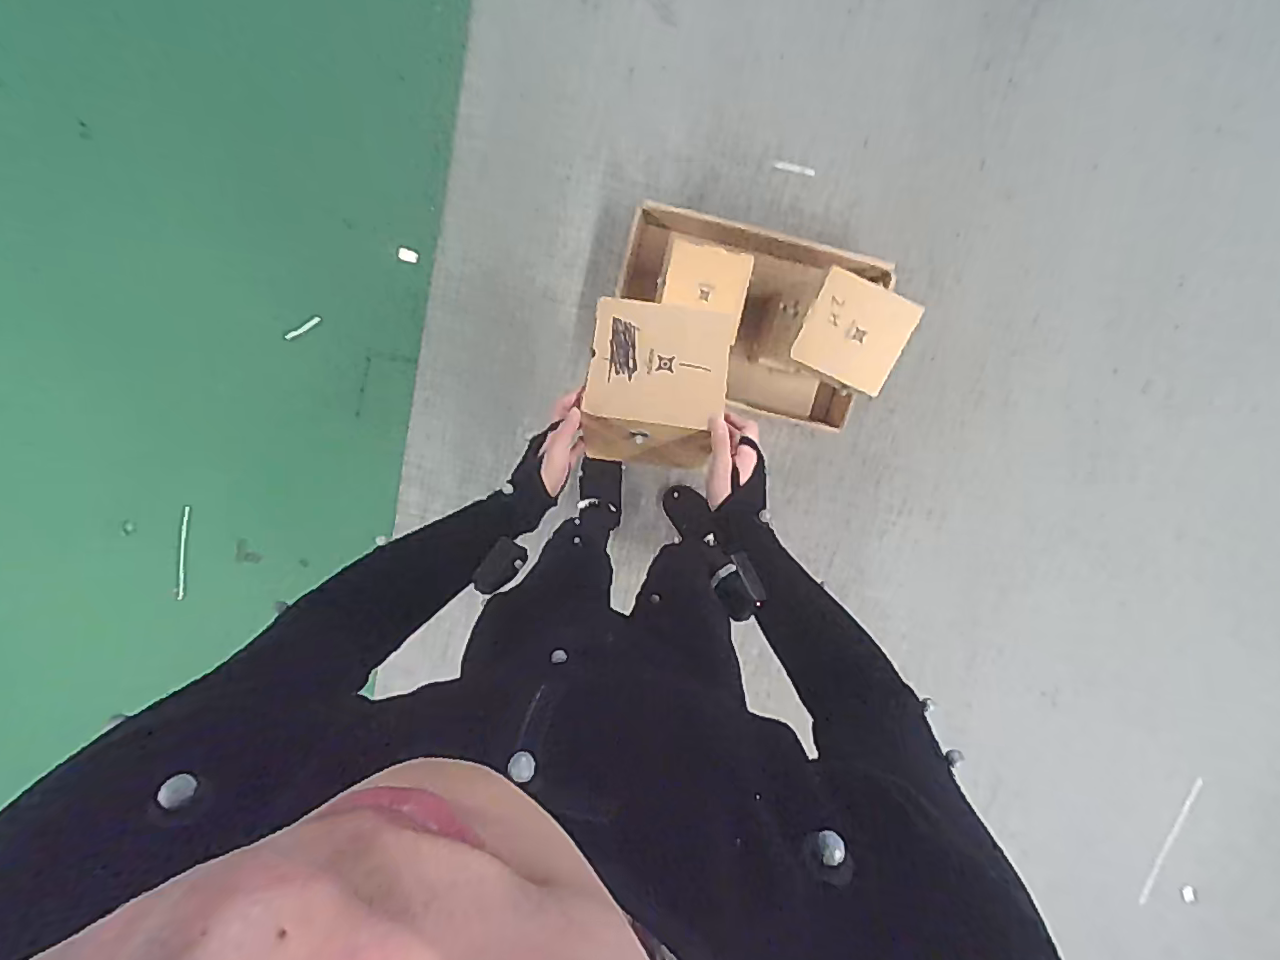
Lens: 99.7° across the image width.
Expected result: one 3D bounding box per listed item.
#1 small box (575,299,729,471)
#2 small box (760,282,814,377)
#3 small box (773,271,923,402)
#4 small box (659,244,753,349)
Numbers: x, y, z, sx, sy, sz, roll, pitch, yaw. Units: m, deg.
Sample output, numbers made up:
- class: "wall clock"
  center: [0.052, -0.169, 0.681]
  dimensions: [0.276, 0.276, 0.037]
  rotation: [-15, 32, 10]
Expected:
- class: "small box"
  center: [0.014, -0.119, 0.736]
  dimensions: [0.179, 0.176, 0.168]
  rotation: [7, 74, -1]
- class: "small box"
  center: [0.374, -0.306, 1.156]
  dimensions: [0.179, 0.176, 0.168]
  rotation: [18, 102, 0]
- class: "small box"
  center: [0.369, -0.259, 0.997]
  dimensions: [0.179, 0.176, 0.168]
  rotation: [26, 102, -1]
- class: "small box"
  center: [0.130, -0.382, 1.161]
  dimensions: [0.168, 0.176, 0.179]
  rotation: [12, 101, -1]
